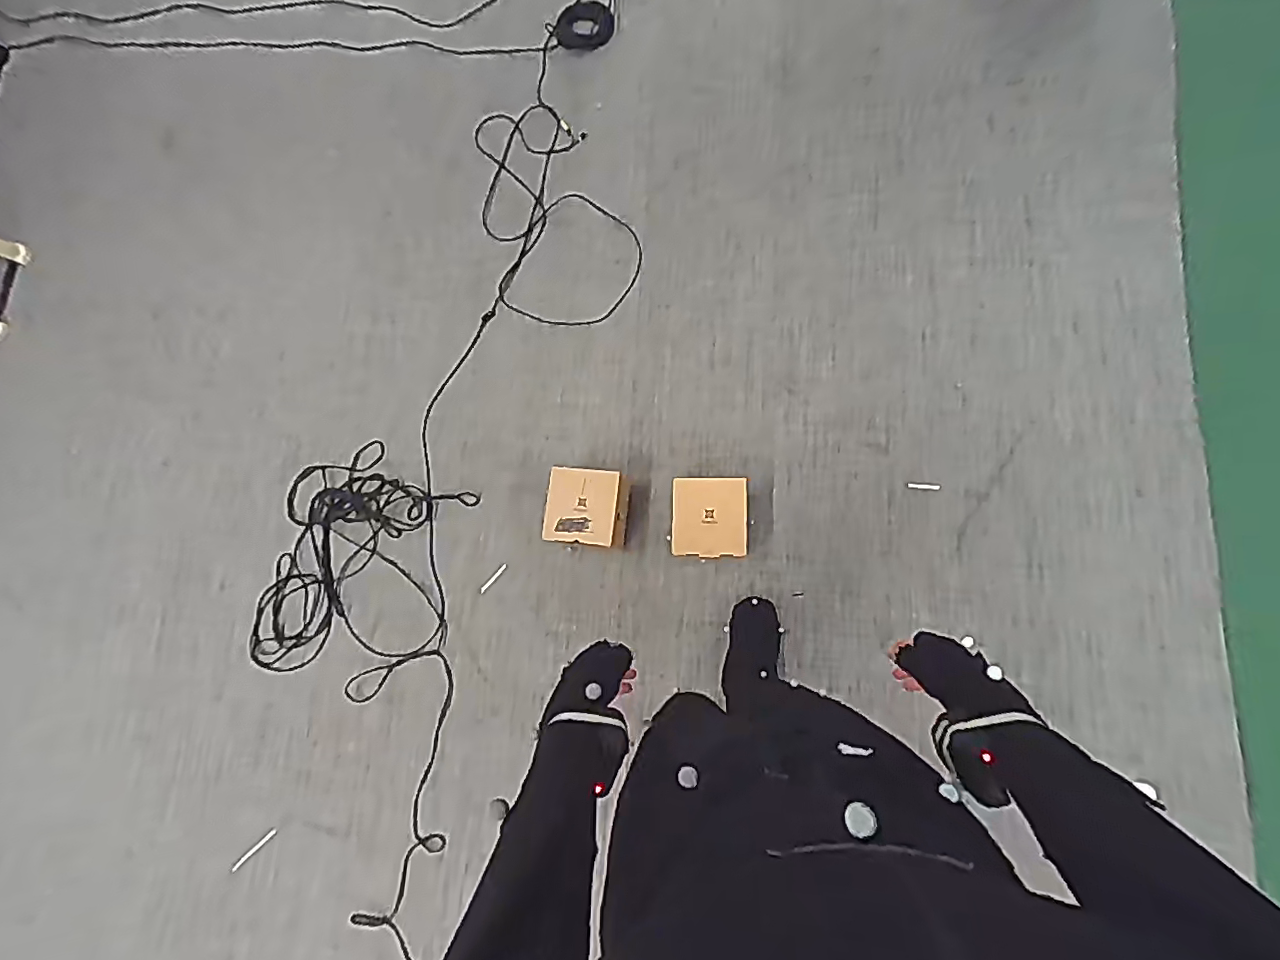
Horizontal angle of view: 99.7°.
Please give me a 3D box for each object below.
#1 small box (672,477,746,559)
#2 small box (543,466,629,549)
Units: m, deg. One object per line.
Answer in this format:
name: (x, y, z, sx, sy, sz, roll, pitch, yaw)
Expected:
small box: (0.163, 0.095, 1.283, 0.168, 0.176, 0.179, 0, 80, 8)
small box: (-0.124, 0.074, 1.323, 0.168, 0.176, 0.179, 5, 80, 8)
